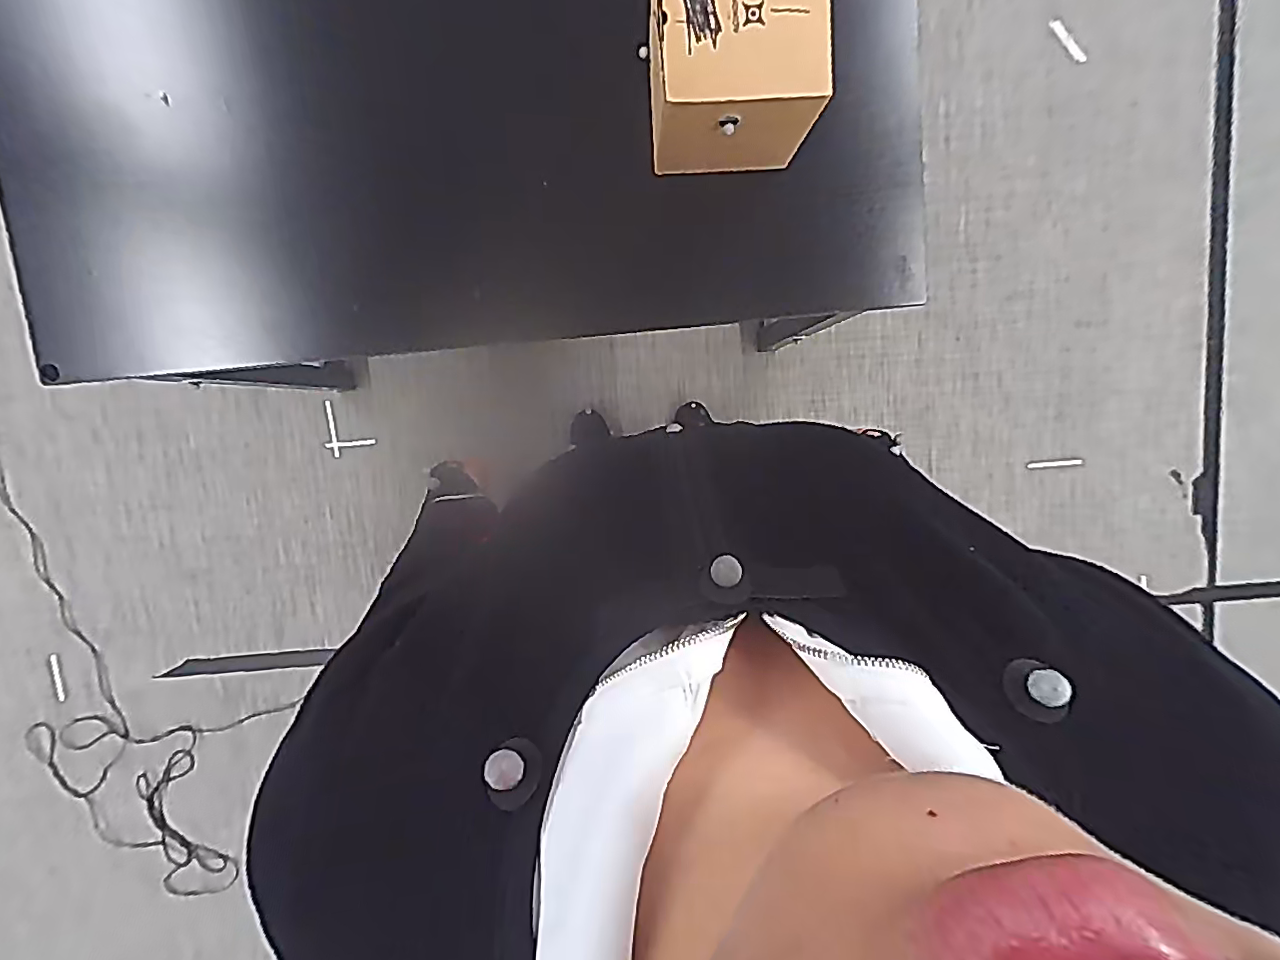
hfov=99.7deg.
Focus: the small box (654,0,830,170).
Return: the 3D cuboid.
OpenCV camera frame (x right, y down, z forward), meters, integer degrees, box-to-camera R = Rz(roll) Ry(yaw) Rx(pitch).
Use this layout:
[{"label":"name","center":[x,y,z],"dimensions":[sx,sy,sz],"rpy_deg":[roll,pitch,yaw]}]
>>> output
[{"label":"small box","center":[0.107,-0.487,0.635],"dimensions":[0.179,0.176,0.168],"rpy_deg":[-3,97,-1]}]
